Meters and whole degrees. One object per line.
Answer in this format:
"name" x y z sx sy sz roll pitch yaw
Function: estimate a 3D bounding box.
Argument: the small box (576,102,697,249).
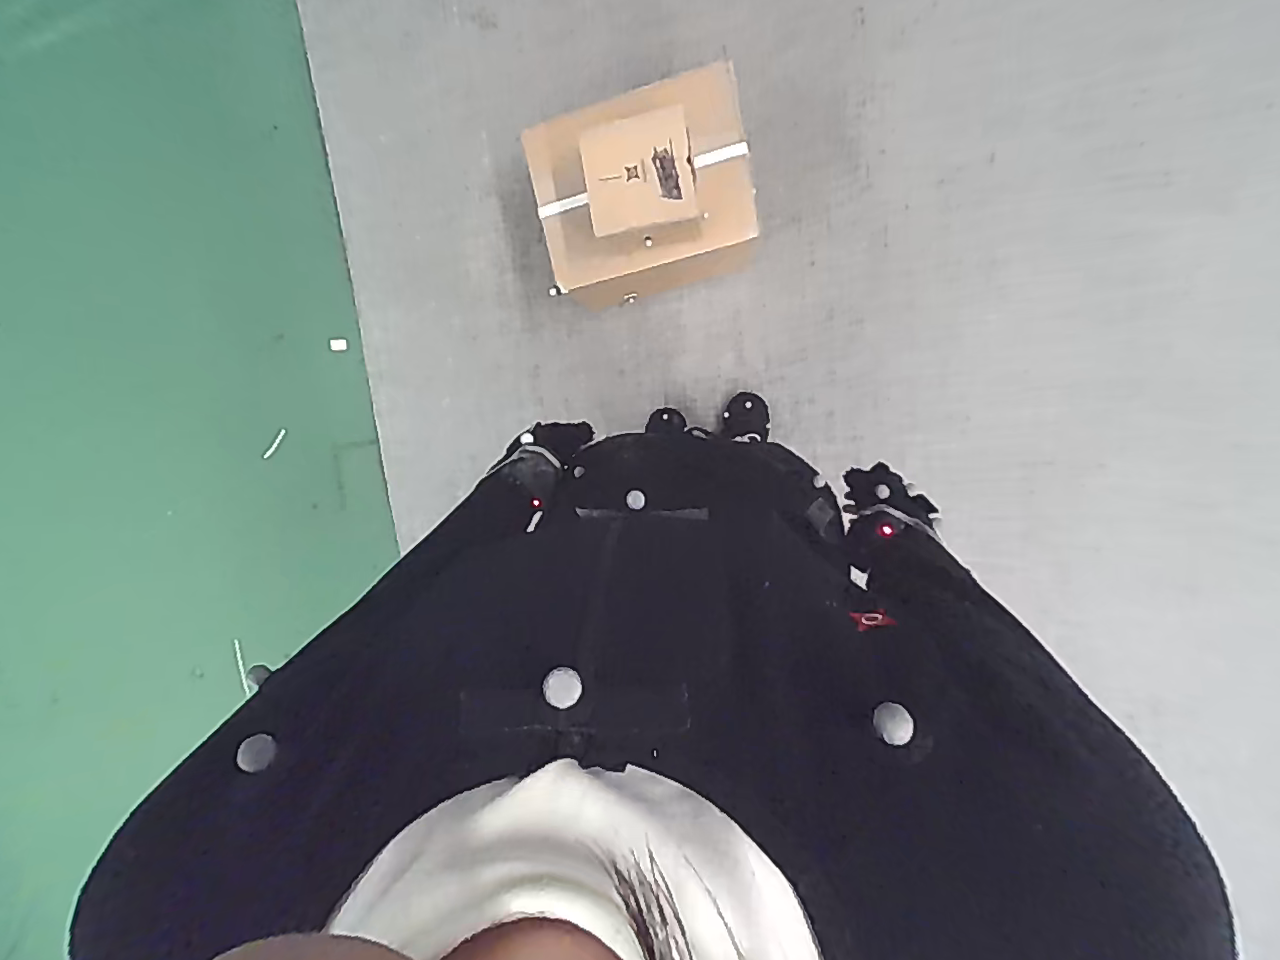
"small box" 0.005 -0.518 0.945 0.179 0.176 0.168 -6 101 11
